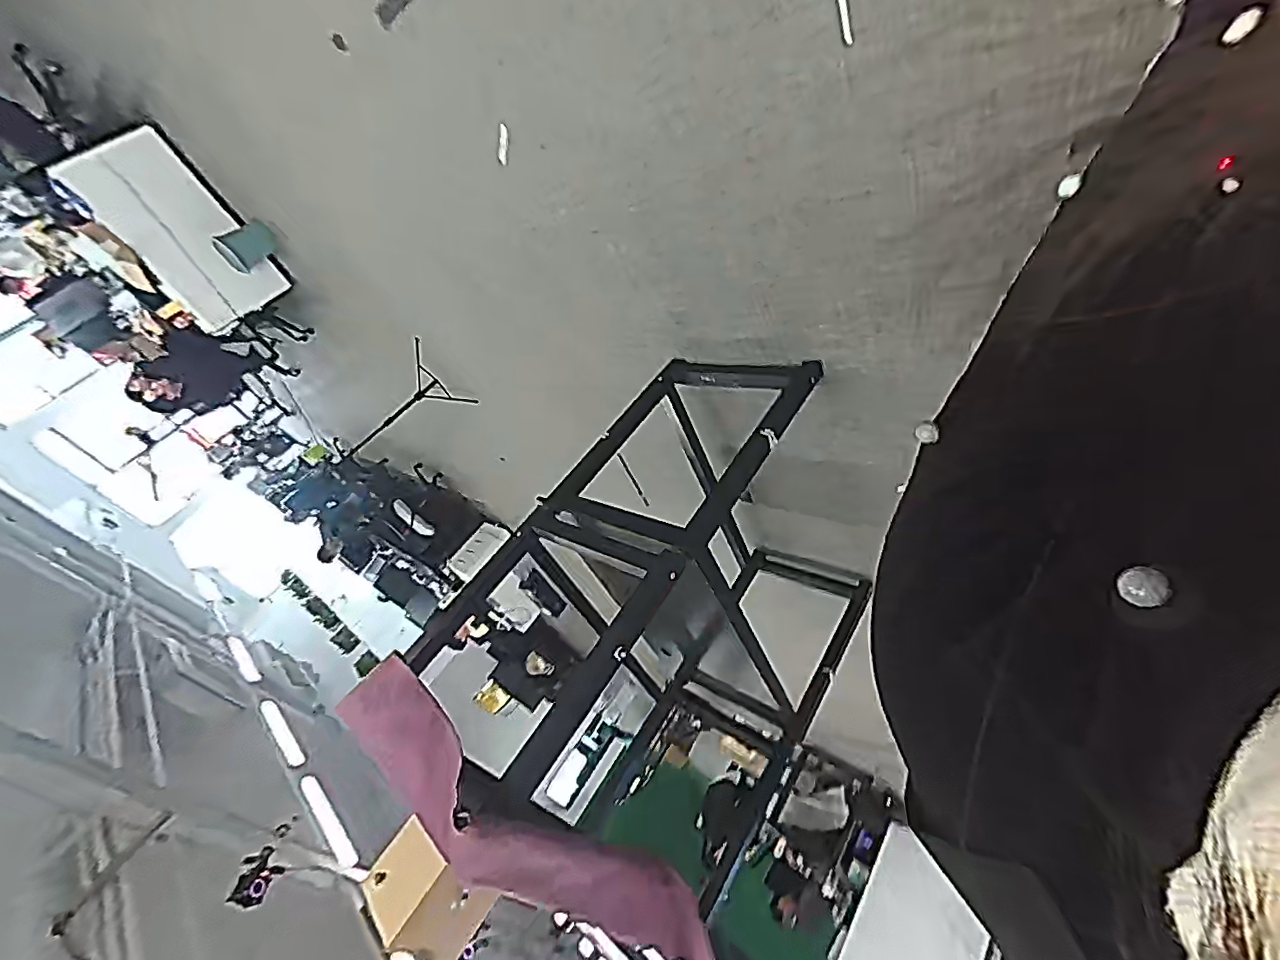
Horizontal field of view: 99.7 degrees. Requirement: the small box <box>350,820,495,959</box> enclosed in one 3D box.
[{"bbox_3d":[-0.415,0.797,1.047,0.179,0.176,0.168,8,141,48],"label":"small box"}]
